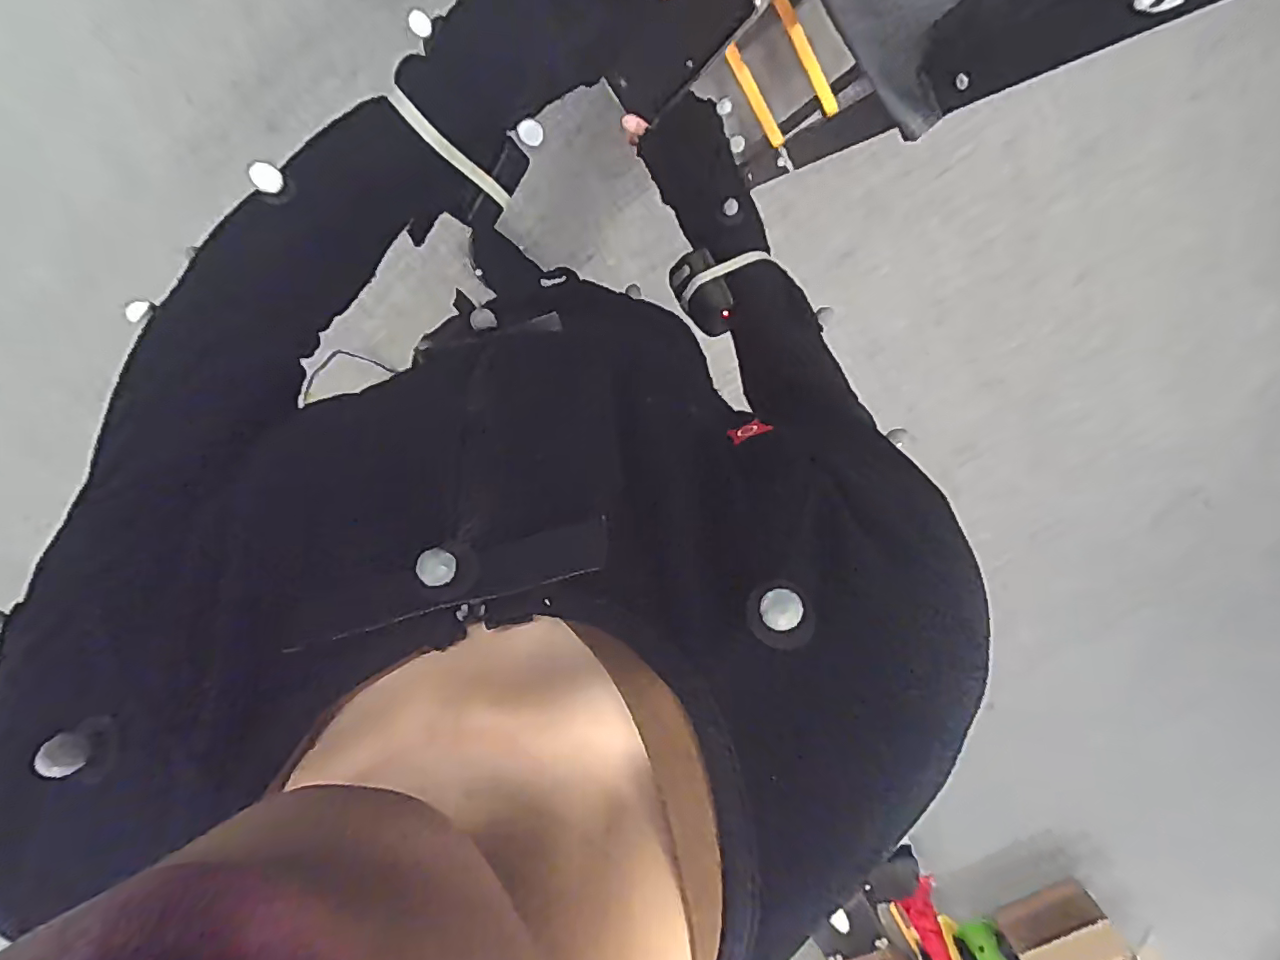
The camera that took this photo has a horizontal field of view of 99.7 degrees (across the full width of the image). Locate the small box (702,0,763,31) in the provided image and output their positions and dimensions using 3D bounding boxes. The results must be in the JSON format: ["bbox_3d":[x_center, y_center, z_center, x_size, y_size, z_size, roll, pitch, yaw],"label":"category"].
[{"bbox_3d":[0.184,-0.955,0.957,0.179,0.176,0.168,-32,112,9],"label":"small box"}]
